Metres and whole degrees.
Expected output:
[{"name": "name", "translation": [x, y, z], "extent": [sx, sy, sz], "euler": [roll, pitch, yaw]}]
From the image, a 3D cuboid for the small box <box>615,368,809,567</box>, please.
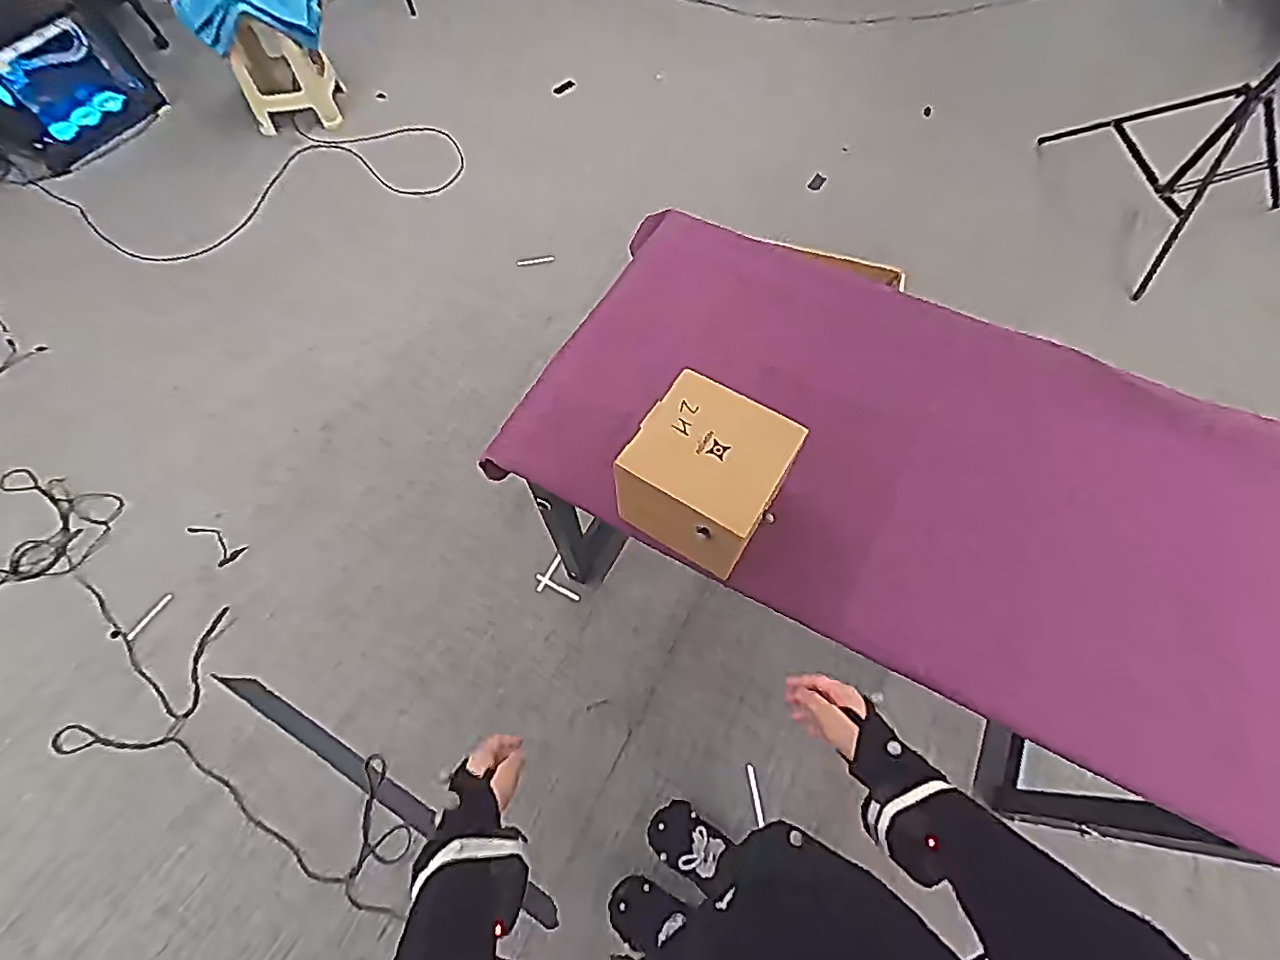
[{"name": "small box", "translation": [0.087, -0.006, 0.704], "extent": [0.179, 0.176, 0.168], "euler": [30, 68, 15]}]
